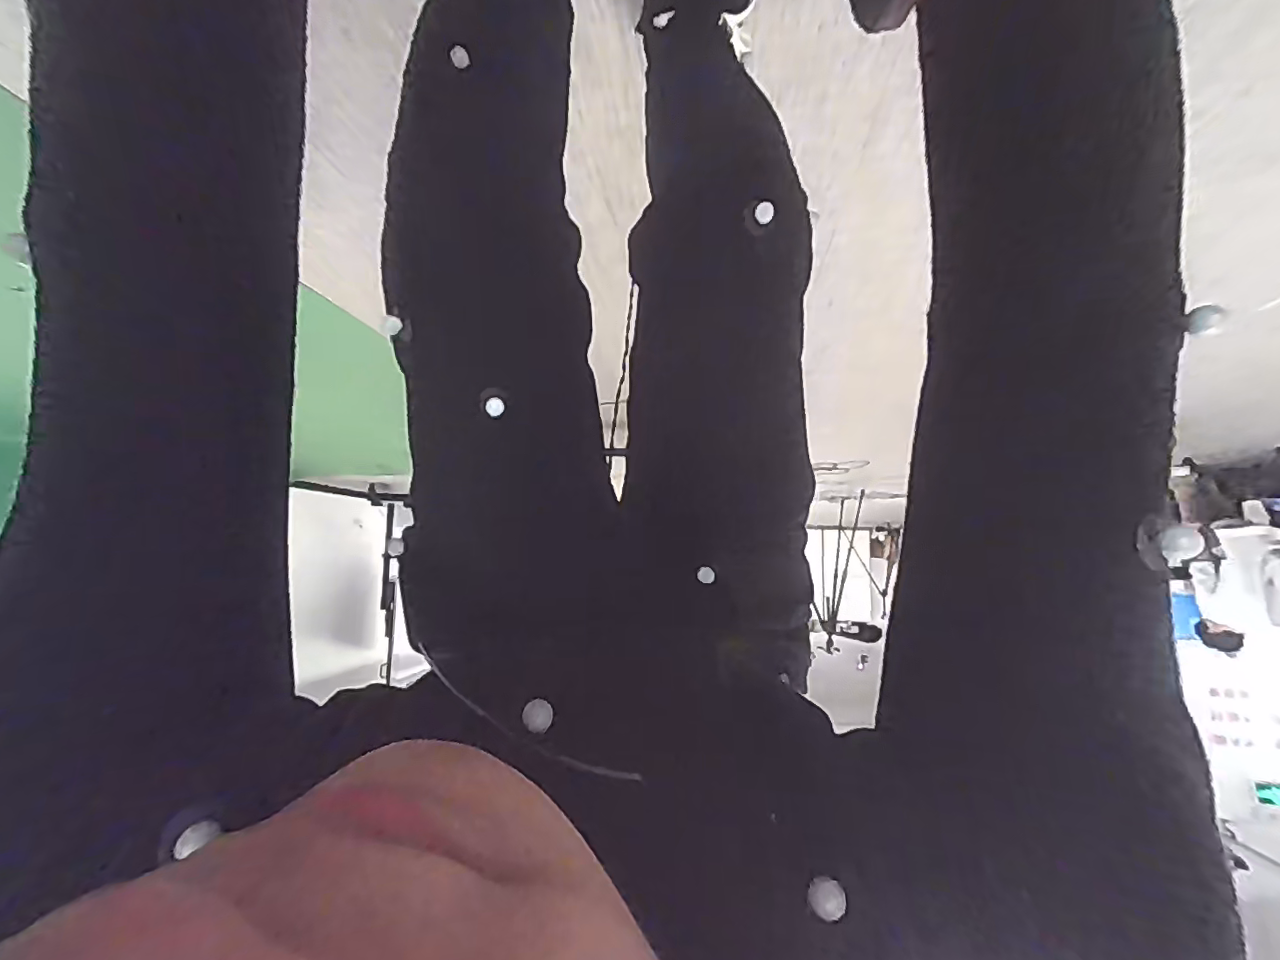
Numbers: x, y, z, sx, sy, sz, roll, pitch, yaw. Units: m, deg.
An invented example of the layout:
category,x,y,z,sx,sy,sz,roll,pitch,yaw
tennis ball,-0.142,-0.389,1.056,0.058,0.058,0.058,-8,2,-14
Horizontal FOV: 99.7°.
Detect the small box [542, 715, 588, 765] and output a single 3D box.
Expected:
category,x,y,z,sx,sy,sz,roll,pitch,yaw
small box,-0.345,1.205,2.515,0.179,0.176,0.168,-1,173,9
